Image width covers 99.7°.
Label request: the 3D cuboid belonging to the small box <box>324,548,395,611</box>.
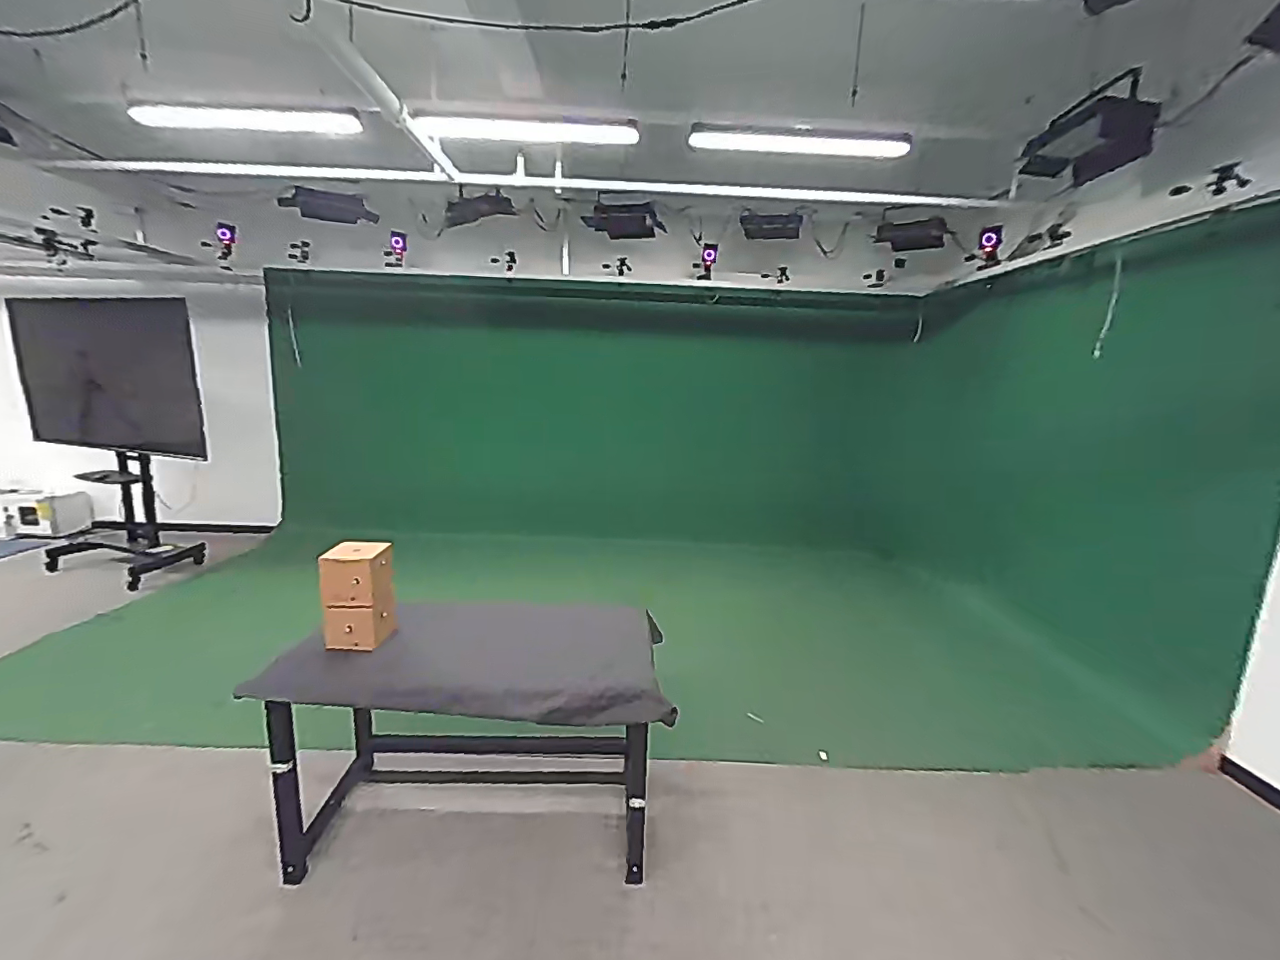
[{"bbox_3d":[-0.955,0.343,1.862,0.168,0.176,0.179,3,9,-2],"label":"small box"}]

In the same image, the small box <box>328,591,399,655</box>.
[{"bbox_3d":[-0.963,0.501,1.903,0.168,0.176,0.179,3,10,0],"label":"small box"}]
